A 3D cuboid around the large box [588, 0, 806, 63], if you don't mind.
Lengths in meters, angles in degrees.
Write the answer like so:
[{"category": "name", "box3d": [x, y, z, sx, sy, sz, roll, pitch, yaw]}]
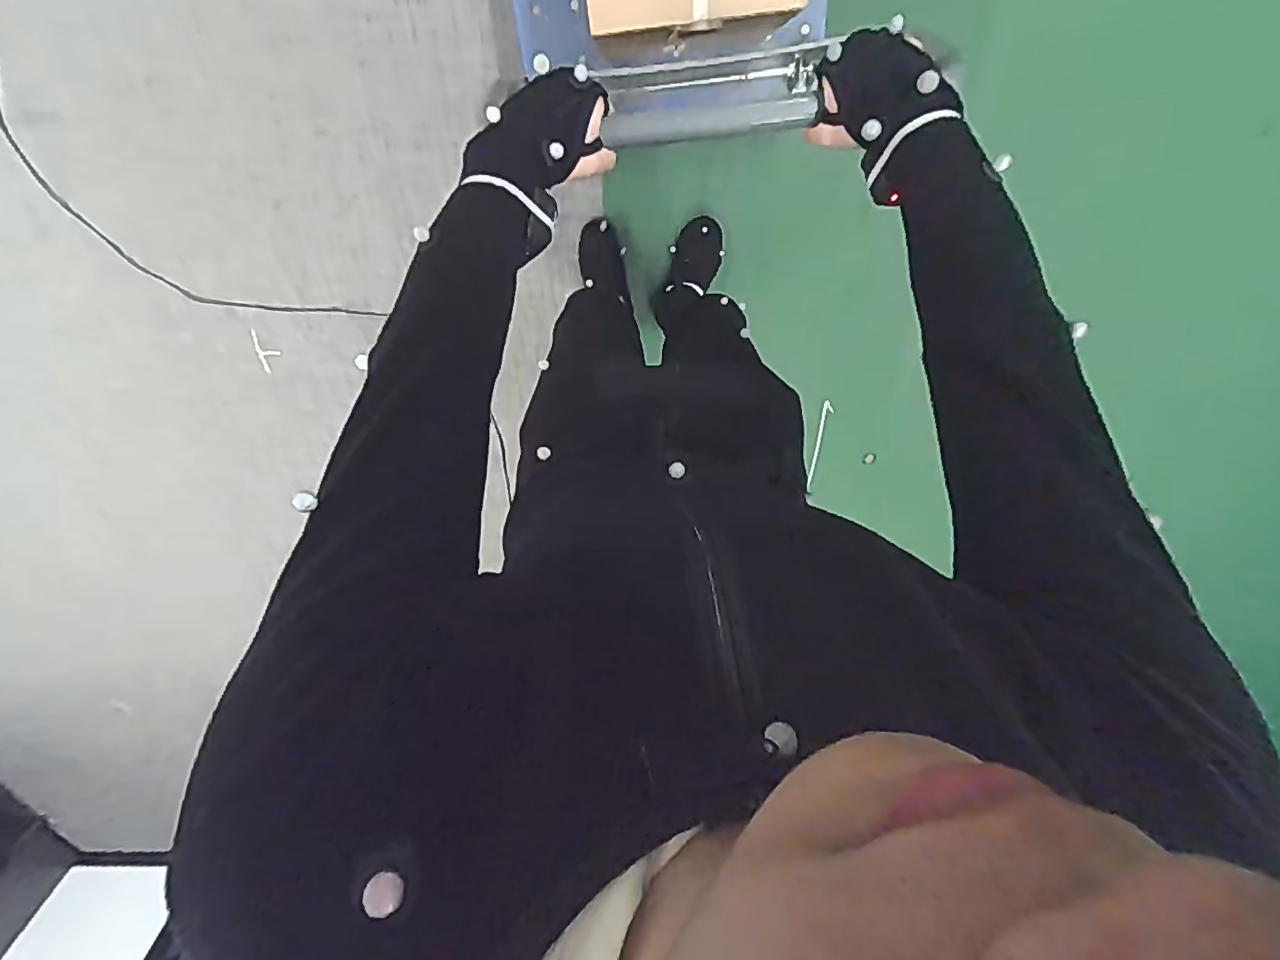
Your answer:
[{"category": "large box", "box3d": [0.065, -0.901, 0.796, 0.320, 0.320, 0.408, -5, 122, 3]}]
